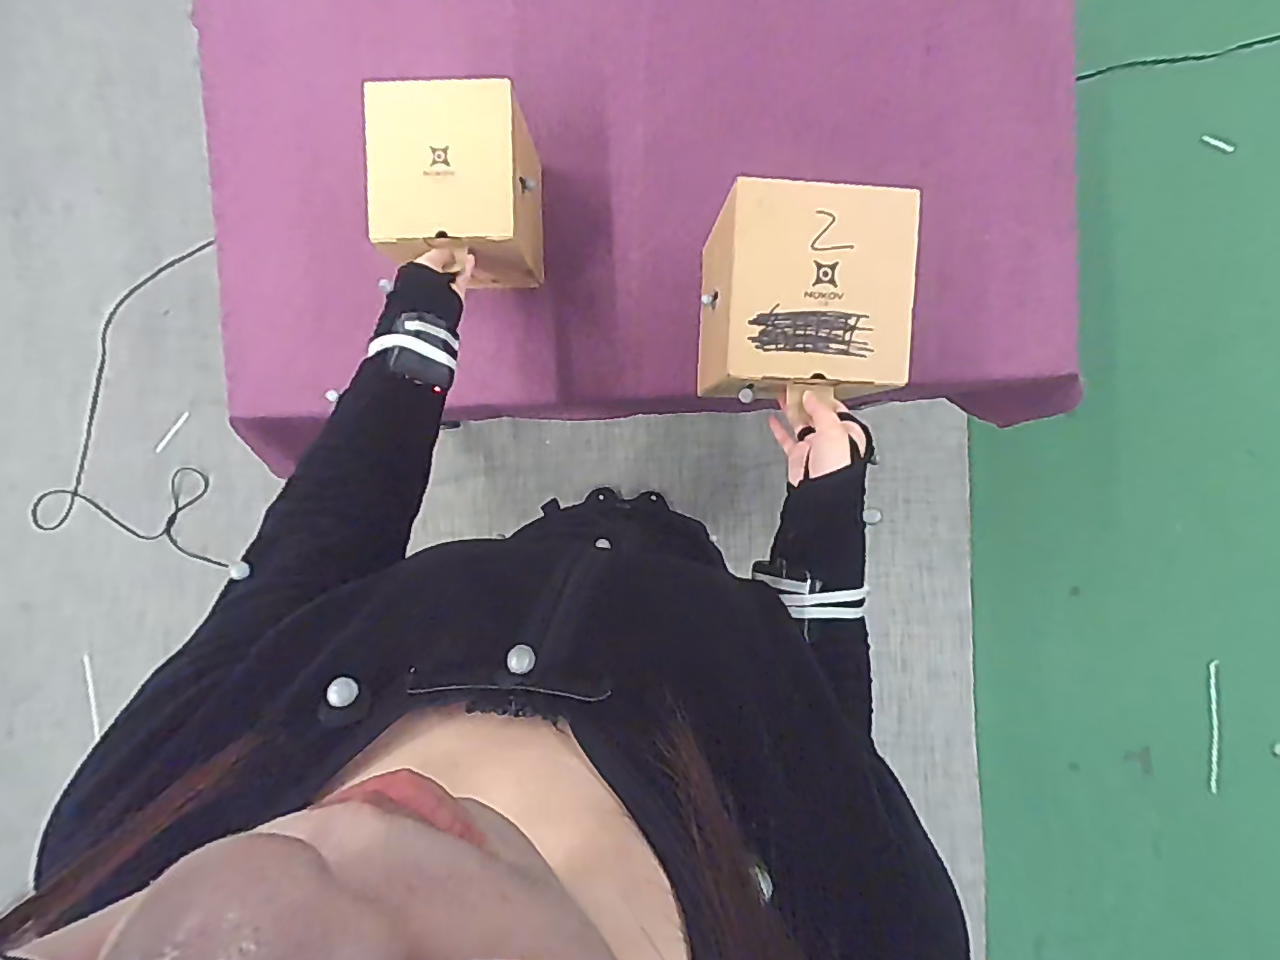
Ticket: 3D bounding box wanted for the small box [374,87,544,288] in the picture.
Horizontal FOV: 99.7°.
[{"bbox_3d":[-0.221,-0.363,0.698,0.168,0.176,0.179,0,93,1],"label":"small box"}]
